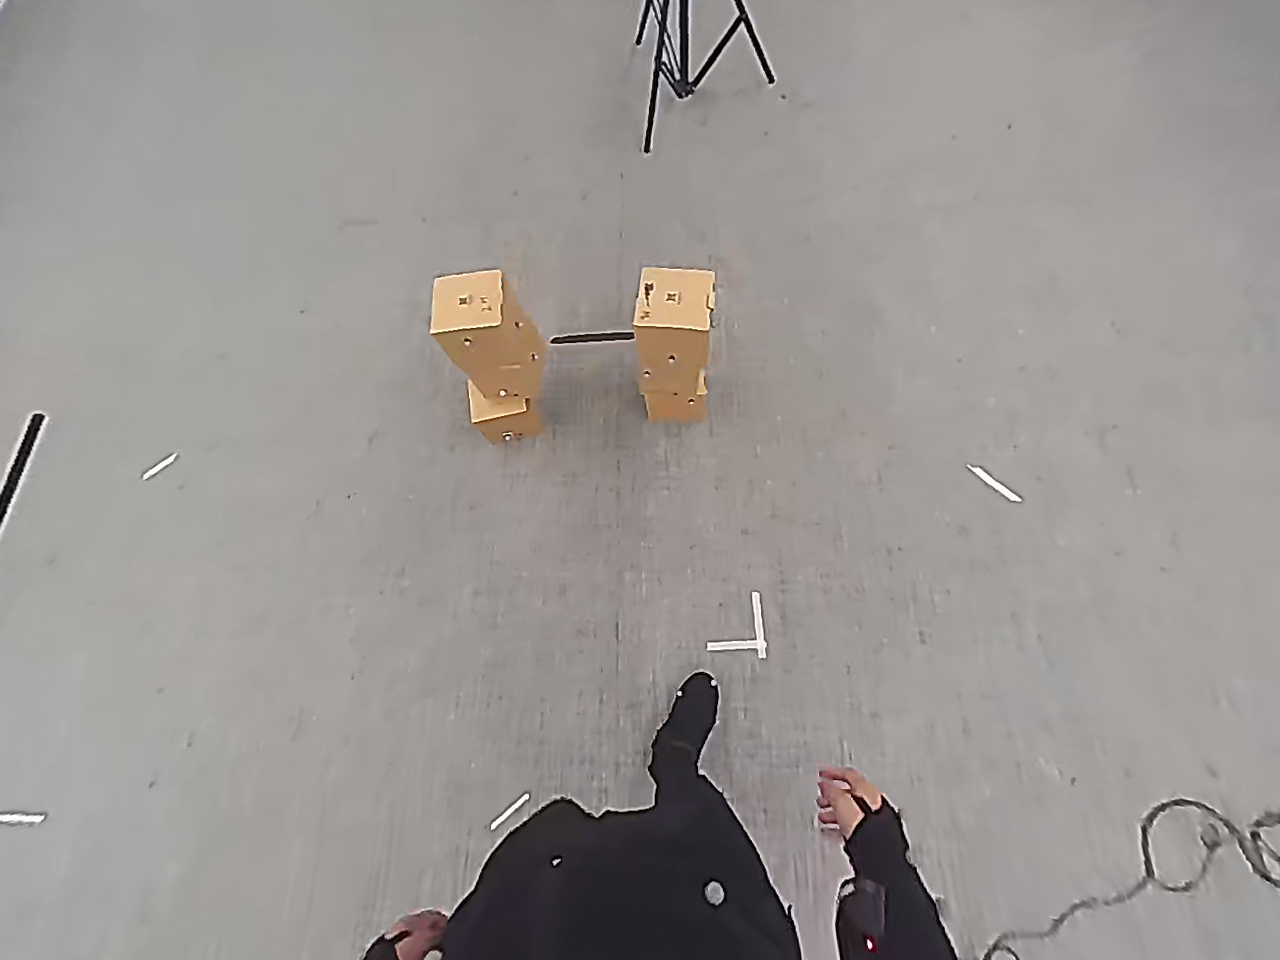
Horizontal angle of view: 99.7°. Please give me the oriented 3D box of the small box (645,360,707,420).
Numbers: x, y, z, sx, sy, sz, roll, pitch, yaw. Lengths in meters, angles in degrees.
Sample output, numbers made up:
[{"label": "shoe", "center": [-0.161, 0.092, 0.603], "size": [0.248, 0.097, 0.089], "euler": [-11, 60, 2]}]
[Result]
[{"label": "small box", "center": [0.110, -0.288, 1.626], "size": [0.179, 0.176, 0.168], "euler": [-1, 71, 4]}]

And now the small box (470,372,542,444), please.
[{"label": "small box", "center": [-0.407, -0.234, 1.655], "size": [0.168, 0.176, 0.179], "euler": [-12, 70, 2]}]

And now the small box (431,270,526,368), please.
[{"label": "small box", "center": [-0.401, -0.399, 1.364], "size": [0.179, 0.176, 0.168], "euler": [-5, 70, 5]}]

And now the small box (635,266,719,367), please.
[{"label": "small box", "center": [0.090, -0.390, 1.315], "size": [0.179, 0.176, 0.168], "euler": [7, 71, 6]}]

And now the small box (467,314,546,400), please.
[{"label": "small box", "center": [-0.370, -0.344, 1.517], "size": [0.168, 0.176, 0.179], "euler": [2, 71, 7]}]
